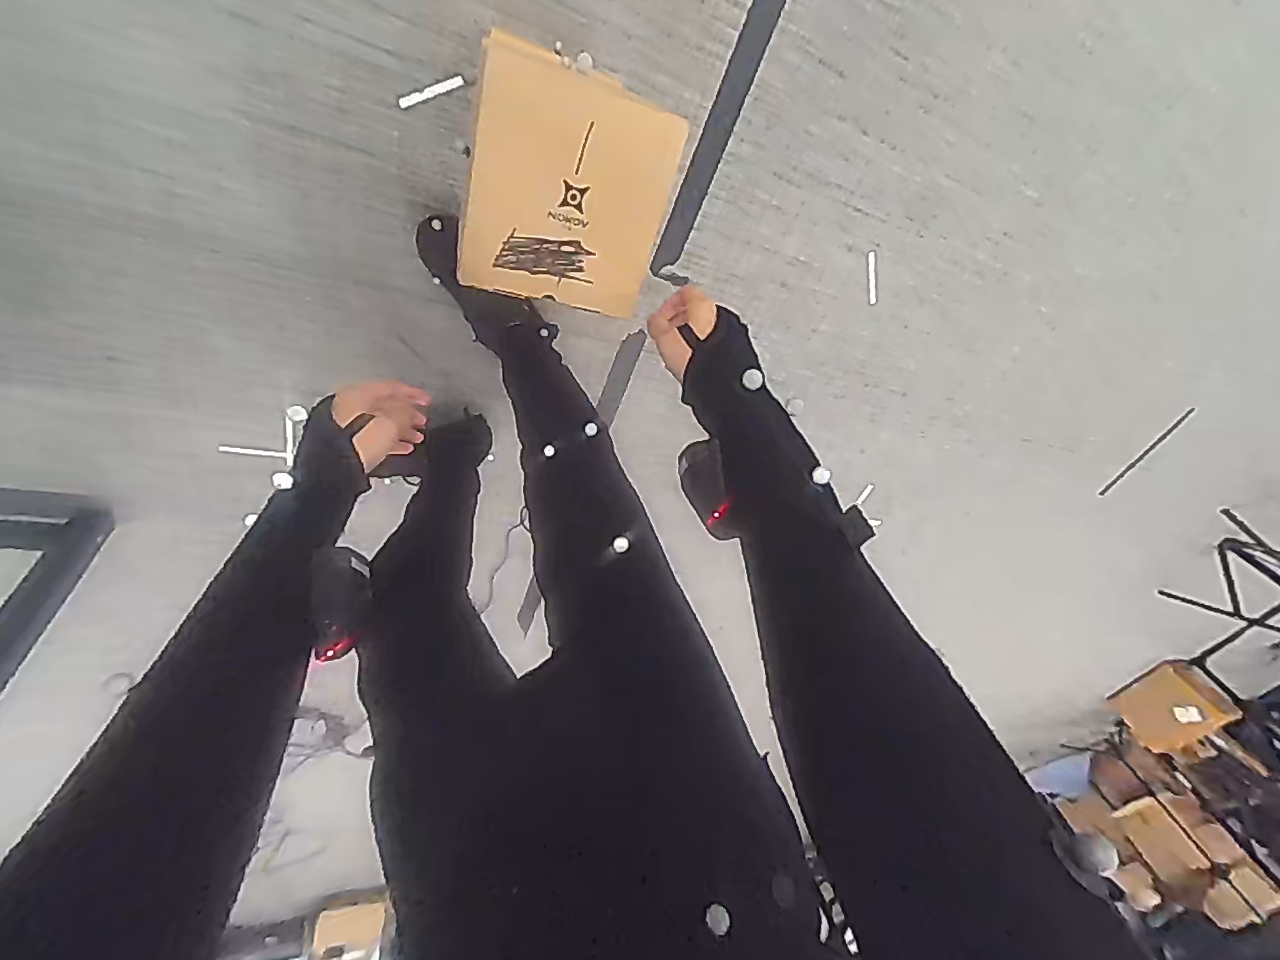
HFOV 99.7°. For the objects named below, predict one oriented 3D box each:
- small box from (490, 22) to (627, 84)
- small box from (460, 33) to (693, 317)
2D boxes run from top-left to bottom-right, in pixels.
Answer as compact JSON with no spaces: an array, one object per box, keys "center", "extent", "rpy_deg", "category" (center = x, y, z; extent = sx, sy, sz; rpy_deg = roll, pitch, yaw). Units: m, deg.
[{"center":[-0.136,-0.503,0.756],"extent":[0.168,0.176,0.179],"rpy_deg":[7,128,-22],"category":"small box"},{"center":[-0.074,-0.287,0.515],"extent":[0.168,0.176,0.179],"rpy_deg":[6,128,-22],"category":"small box"}]
